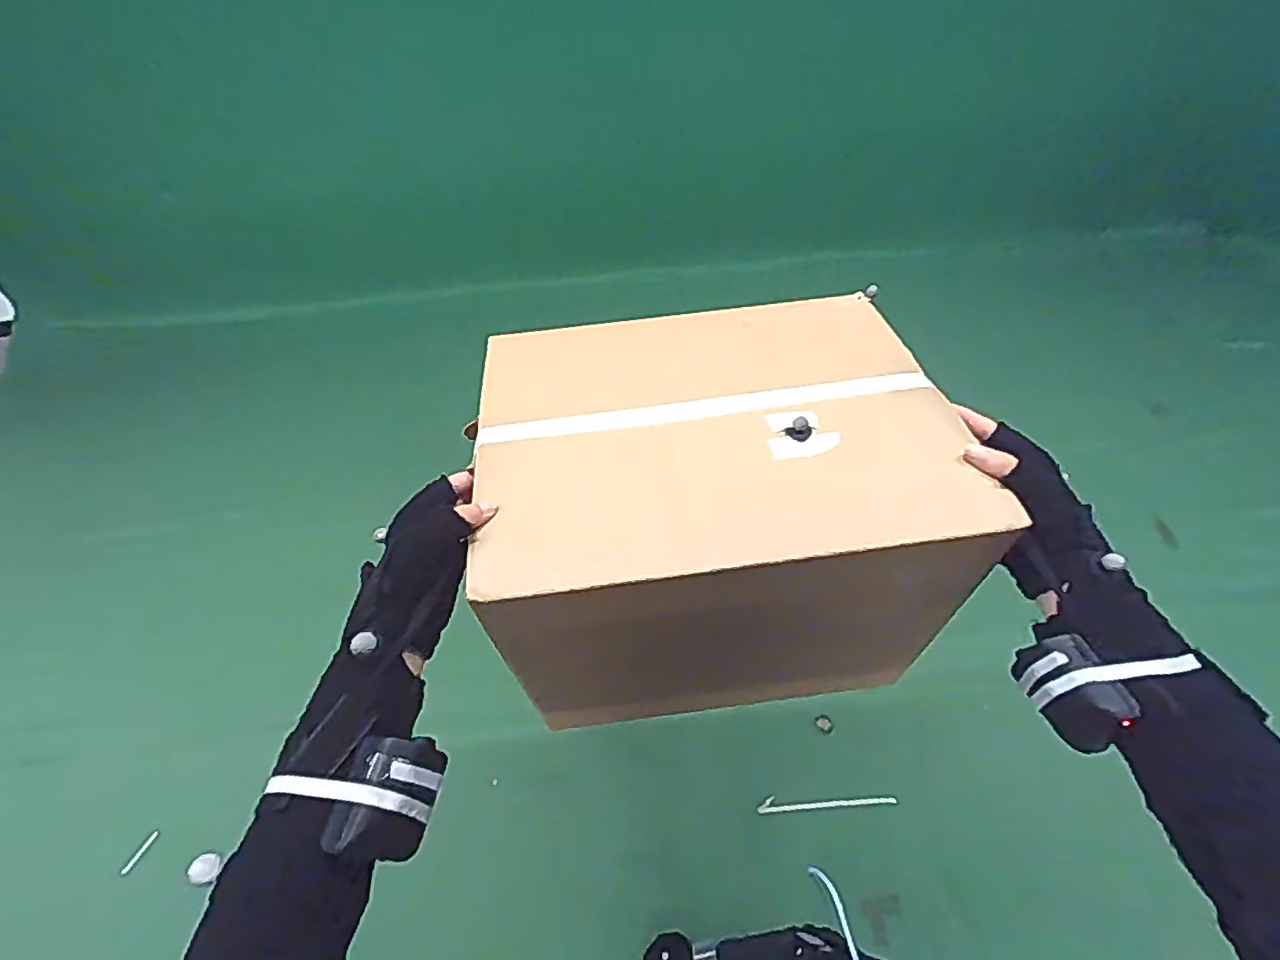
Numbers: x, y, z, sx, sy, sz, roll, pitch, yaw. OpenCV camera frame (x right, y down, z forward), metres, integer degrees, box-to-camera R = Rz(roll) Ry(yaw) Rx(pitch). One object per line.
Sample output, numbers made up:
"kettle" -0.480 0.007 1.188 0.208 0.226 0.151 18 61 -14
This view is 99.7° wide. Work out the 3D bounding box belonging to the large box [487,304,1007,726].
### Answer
"large box" 0.069 0.042 0.603 0.408 0.320 0.320 -8 50 -3
